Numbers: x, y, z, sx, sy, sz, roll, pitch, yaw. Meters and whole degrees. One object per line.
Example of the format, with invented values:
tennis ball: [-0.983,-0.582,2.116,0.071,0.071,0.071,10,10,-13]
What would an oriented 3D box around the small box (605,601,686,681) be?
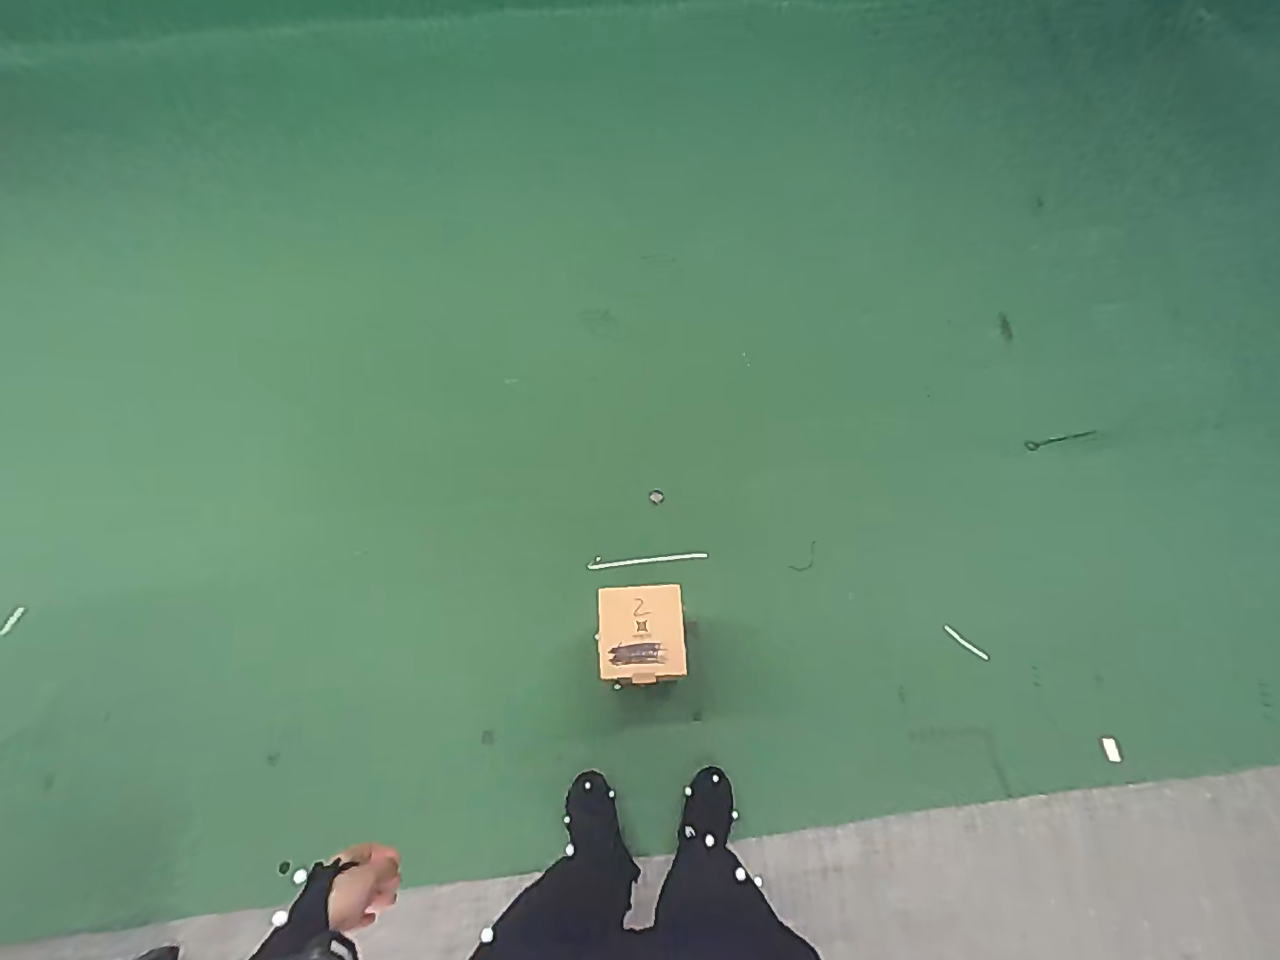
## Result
small box: [0.008,0.380,1.267,0.179,0.176,0.168,-3,68,-1]
